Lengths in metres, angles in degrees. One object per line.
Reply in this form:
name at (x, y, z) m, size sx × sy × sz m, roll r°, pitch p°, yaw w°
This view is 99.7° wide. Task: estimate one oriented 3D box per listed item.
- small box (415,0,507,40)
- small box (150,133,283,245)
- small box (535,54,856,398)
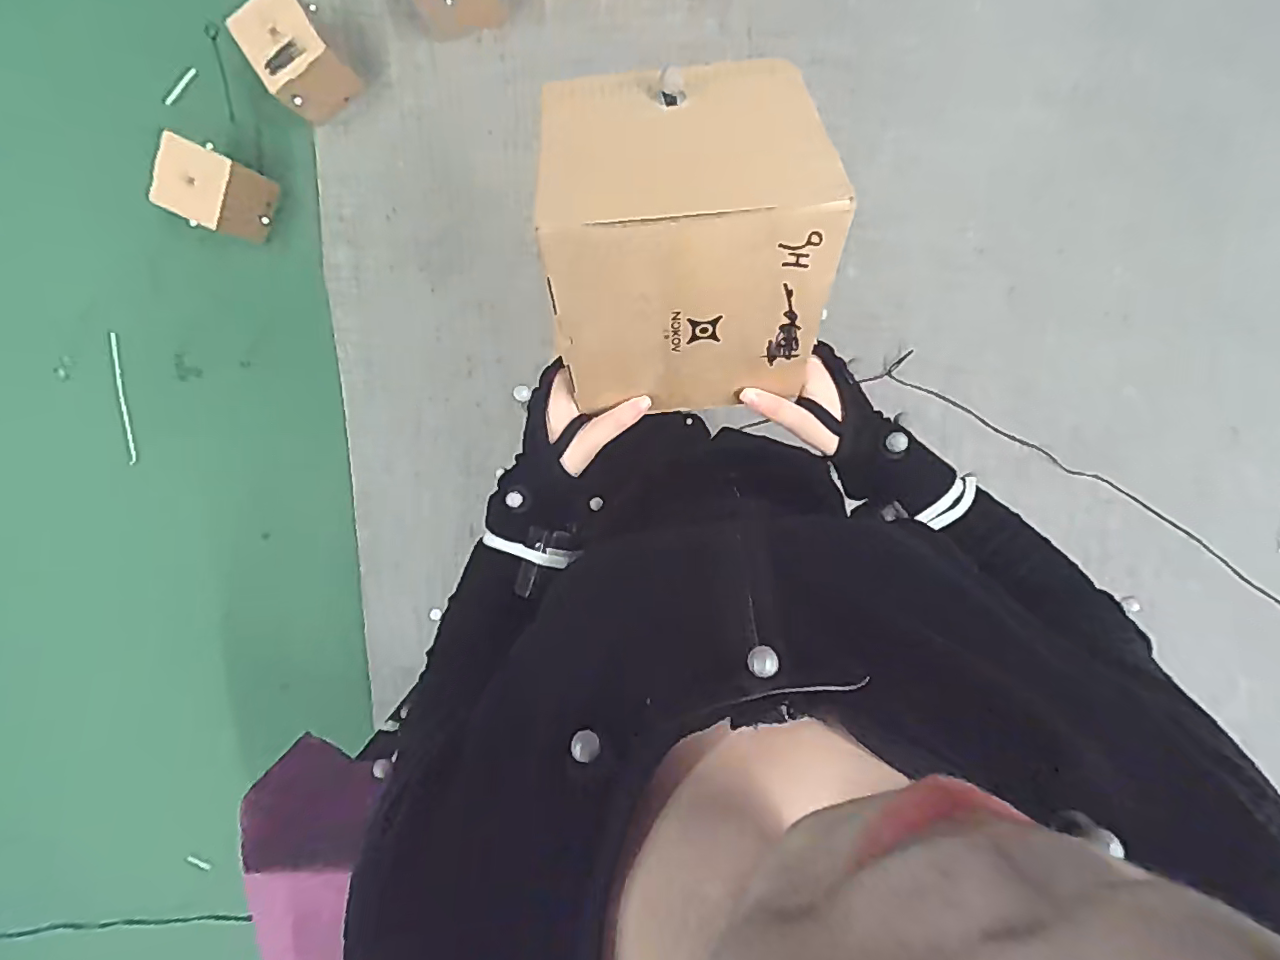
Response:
small box at (-0.423, -1.142, 1.216) m, size 0.179 × 0.176 × 0.168 m, roll -11°, pitch 100°, yaw 5°
small box at (-1.044, -0.710, 1.344) m, size 0.179 × 0.176 × 0.168 m, roll 25°, pitch 102°, yaw -1°
small box at (0.029, -0.180, 0.399) m, size 0.179 × 0.168 × 0.176 m, roll -4°, pitch 58°, yaw 1°
